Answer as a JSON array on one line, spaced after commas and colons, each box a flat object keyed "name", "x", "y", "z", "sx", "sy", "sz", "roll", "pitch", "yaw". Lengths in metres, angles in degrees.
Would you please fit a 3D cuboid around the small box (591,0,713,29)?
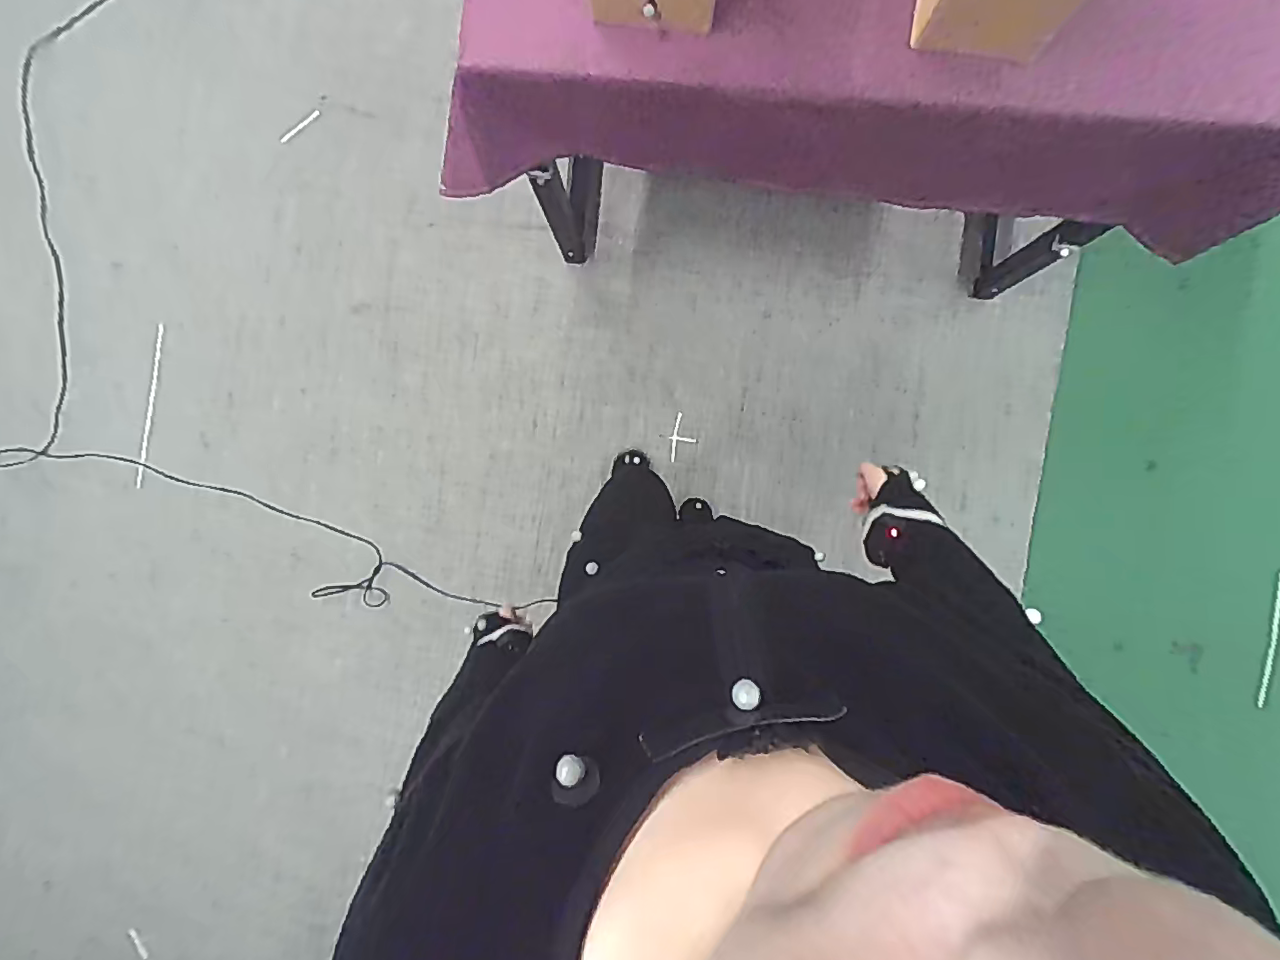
[{"name": "small box", "x": 0.025, "y": -0.735, "z": 0.698, "sx": 0.179, "sy": 0.176, "sz": 0.168, "roll": 8, "pitch": 89, "yaw": 2}]

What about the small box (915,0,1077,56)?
[{"name": "small box", "x": 0.474, "y": -0.679, "z": 0.677, "sx": 0.179, "sy": 0.176, "sz": 0.168, "roll": 9, "pitch": 90, "yaw": 2}]
